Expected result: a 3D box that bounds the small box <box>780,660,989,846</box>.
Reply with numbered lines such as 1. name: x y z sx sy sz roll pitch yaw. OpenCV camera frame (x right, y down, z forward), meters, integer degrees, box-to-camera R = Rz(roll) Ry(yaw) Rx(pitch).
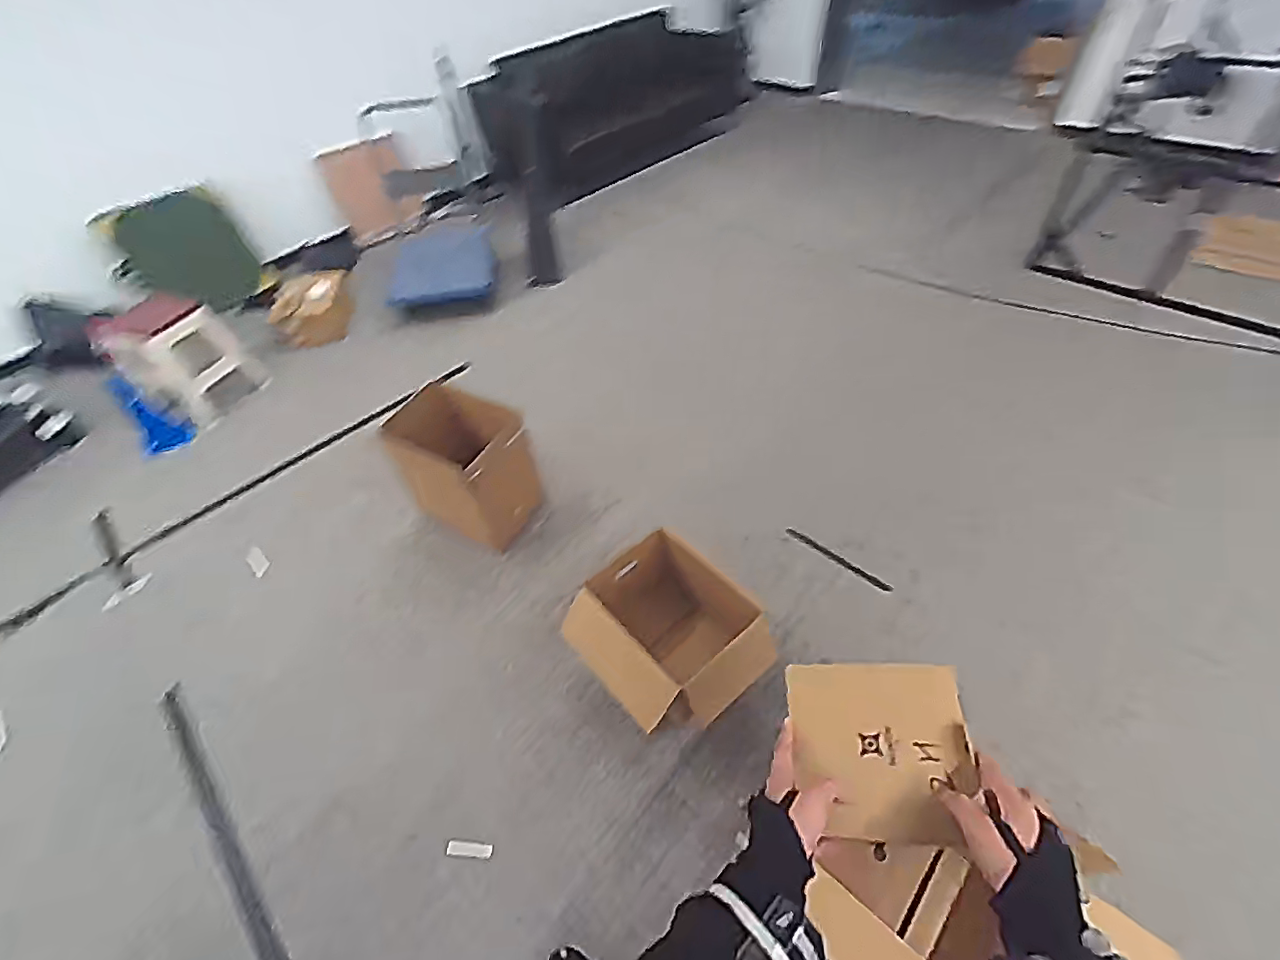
1. small box: 0.258 0.310 0.614 0.179 0.176 0.168 -5 56 14
